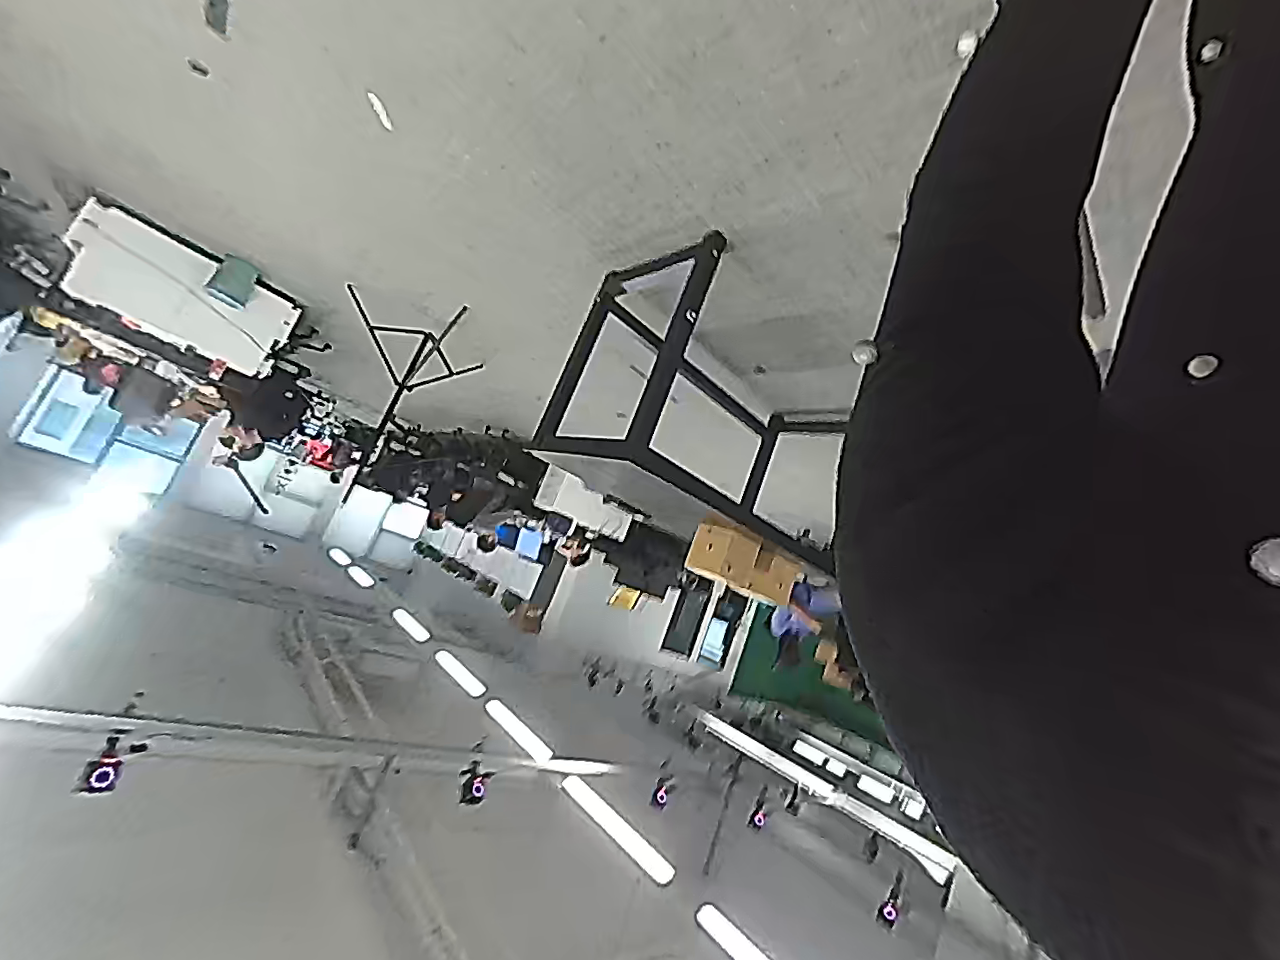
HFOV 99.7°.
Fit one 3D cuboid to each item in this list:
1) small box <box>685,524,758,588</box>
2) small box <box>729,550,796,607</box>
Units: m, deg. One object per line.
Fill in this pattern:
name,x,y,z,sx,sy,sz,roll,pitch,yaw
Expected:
small box,0.298,0.272,1.959,0.179,0.176,0.168,30,167,-39
small box,0.486,0.379,2.126,0.179,0.176,0.168,29,167,-36
